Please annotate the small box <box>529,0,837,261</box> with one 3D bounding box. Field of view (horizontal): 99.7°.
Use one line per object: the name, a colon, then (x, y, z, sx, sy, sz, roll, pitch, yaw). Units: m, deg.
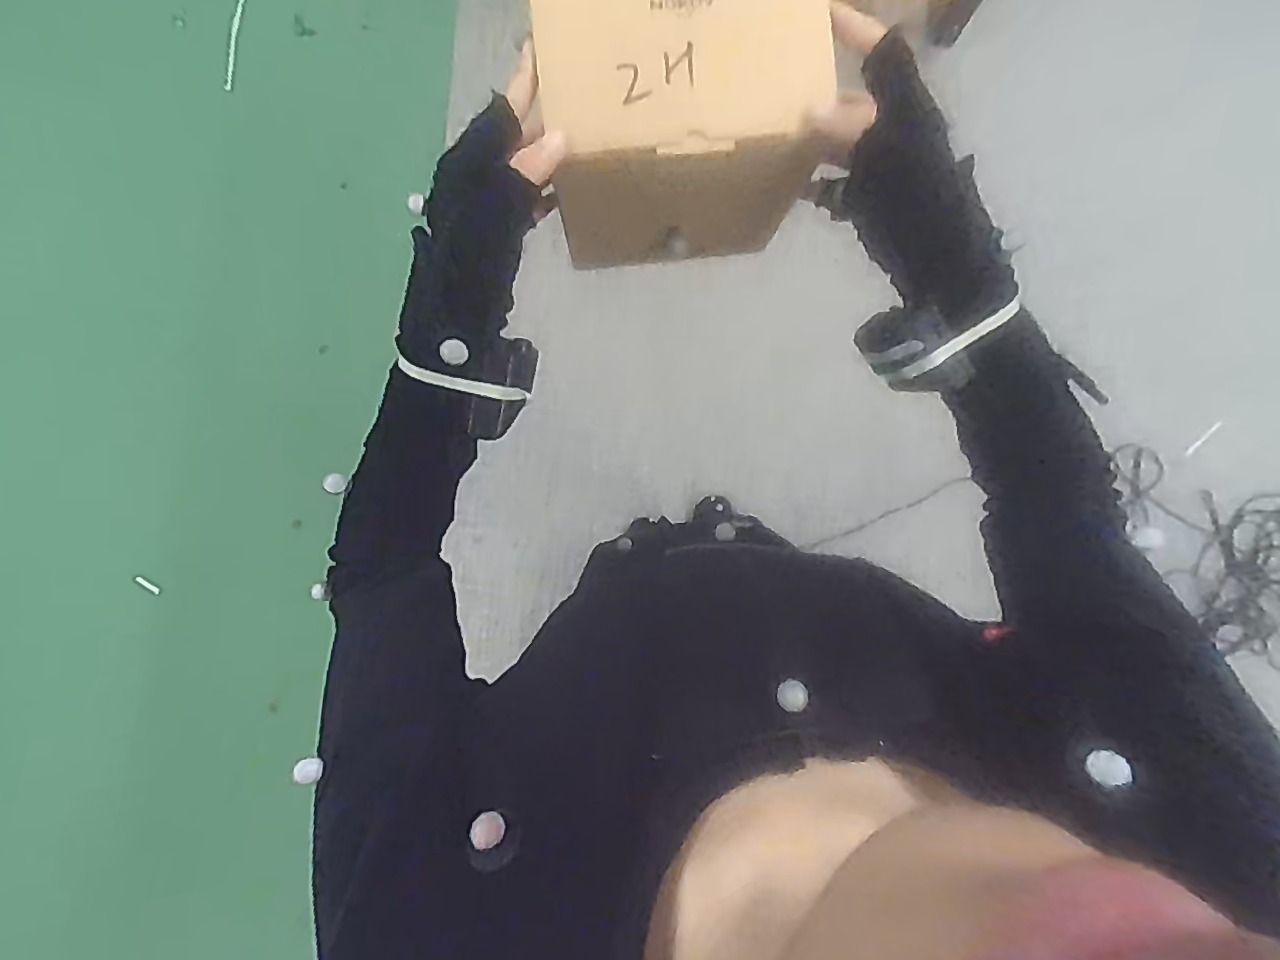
small box: (0.017, -0.276, 0.373, 0.168, 0.176, 0.179, -6, 90, -1)
